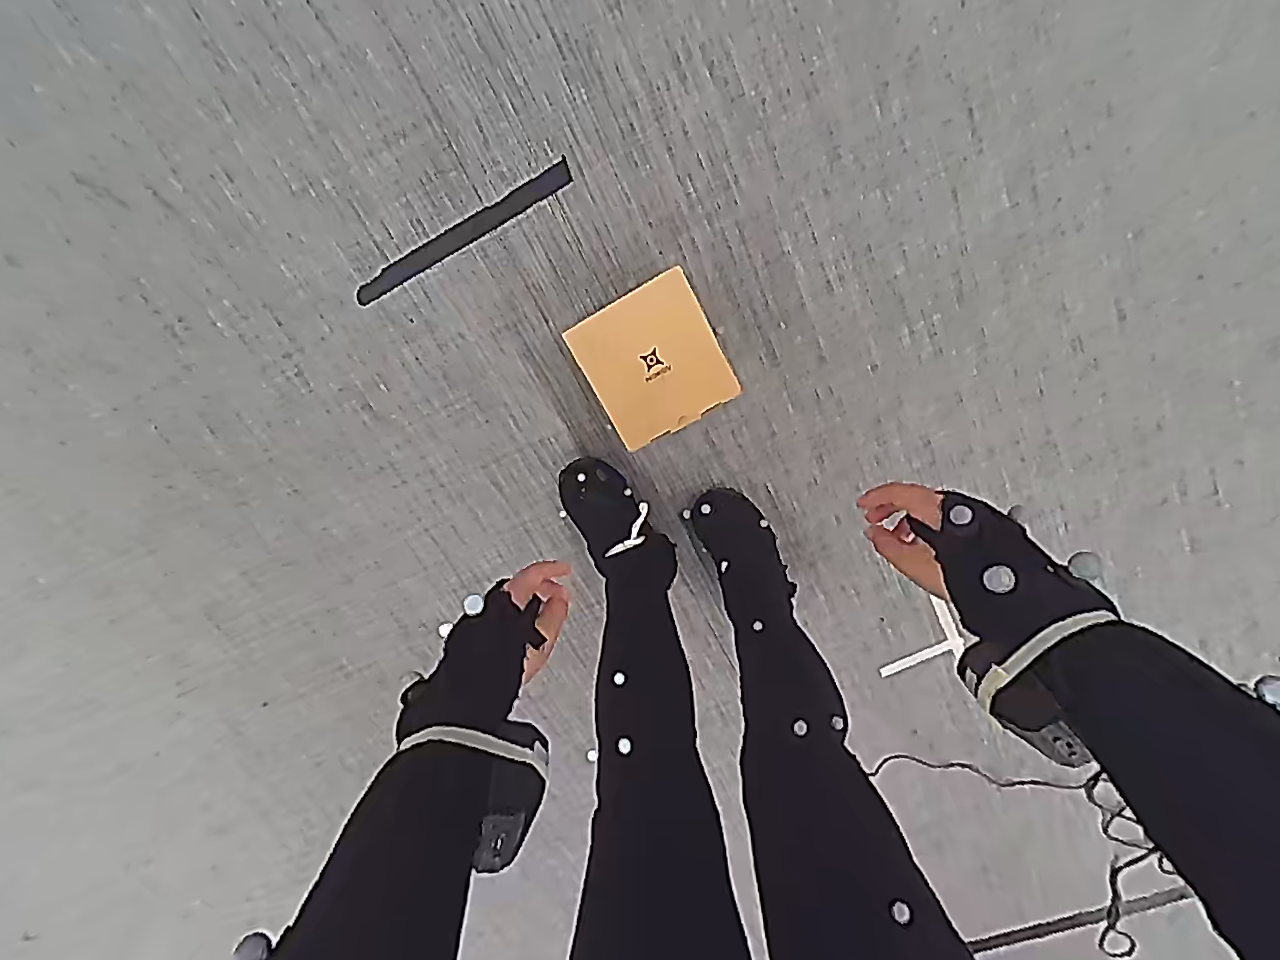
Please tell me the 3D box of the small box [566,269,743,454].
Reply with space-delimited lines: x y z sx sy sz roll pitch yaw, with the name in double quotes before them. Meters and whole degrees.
"small box" 0.019 -0.165 0.742 0.168 0.176 0.179 -28 108 10
